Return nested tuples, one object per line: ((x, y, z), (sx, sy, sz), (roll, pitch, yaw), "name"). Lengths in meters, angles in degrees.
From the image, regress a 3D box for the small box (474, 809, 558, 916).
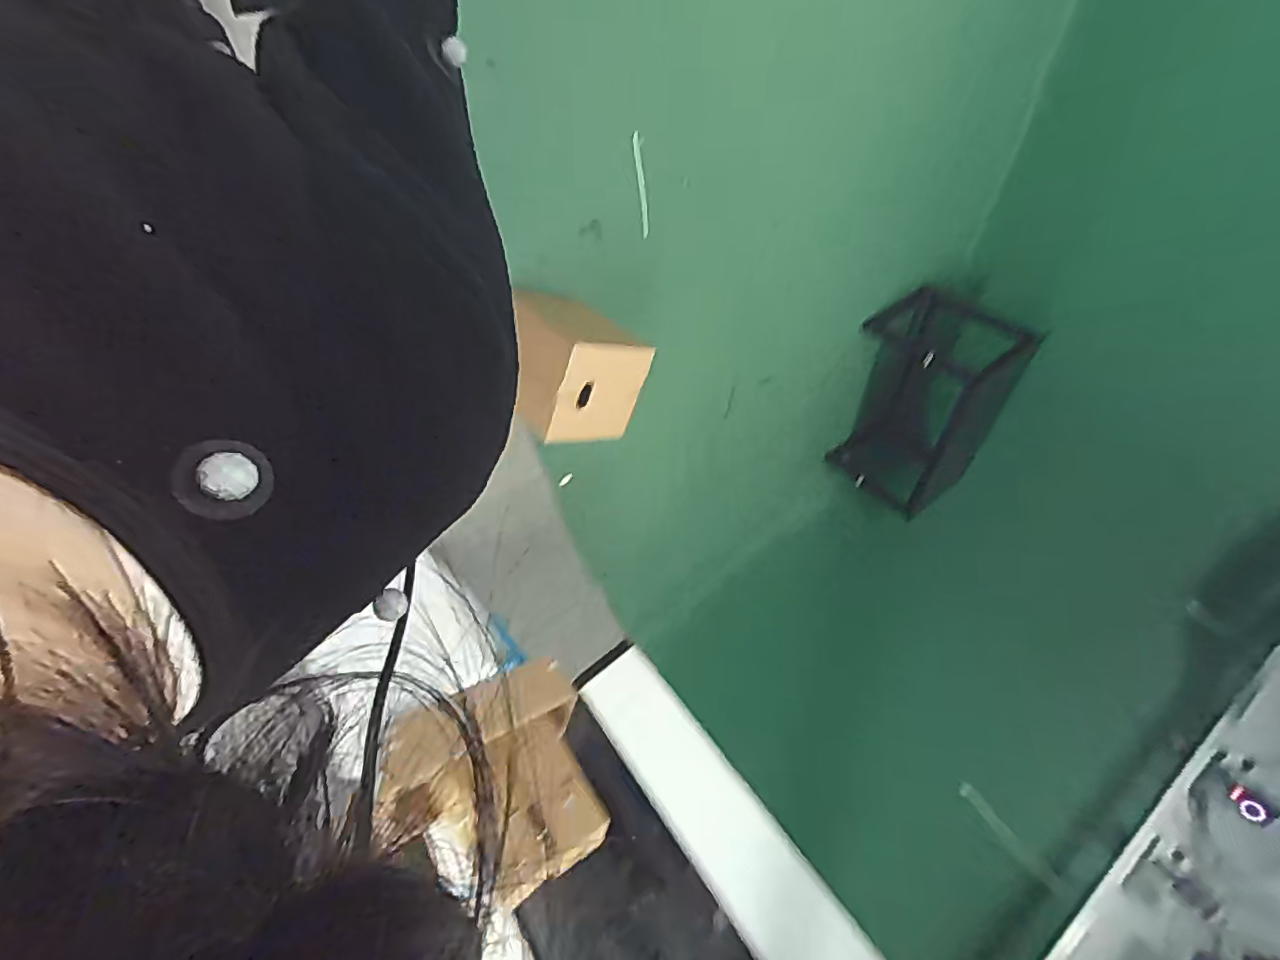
((-0.355, 1.096, 1.558), (0.179, 0.176, 0.168), (-27, 143, -31), "small box")
